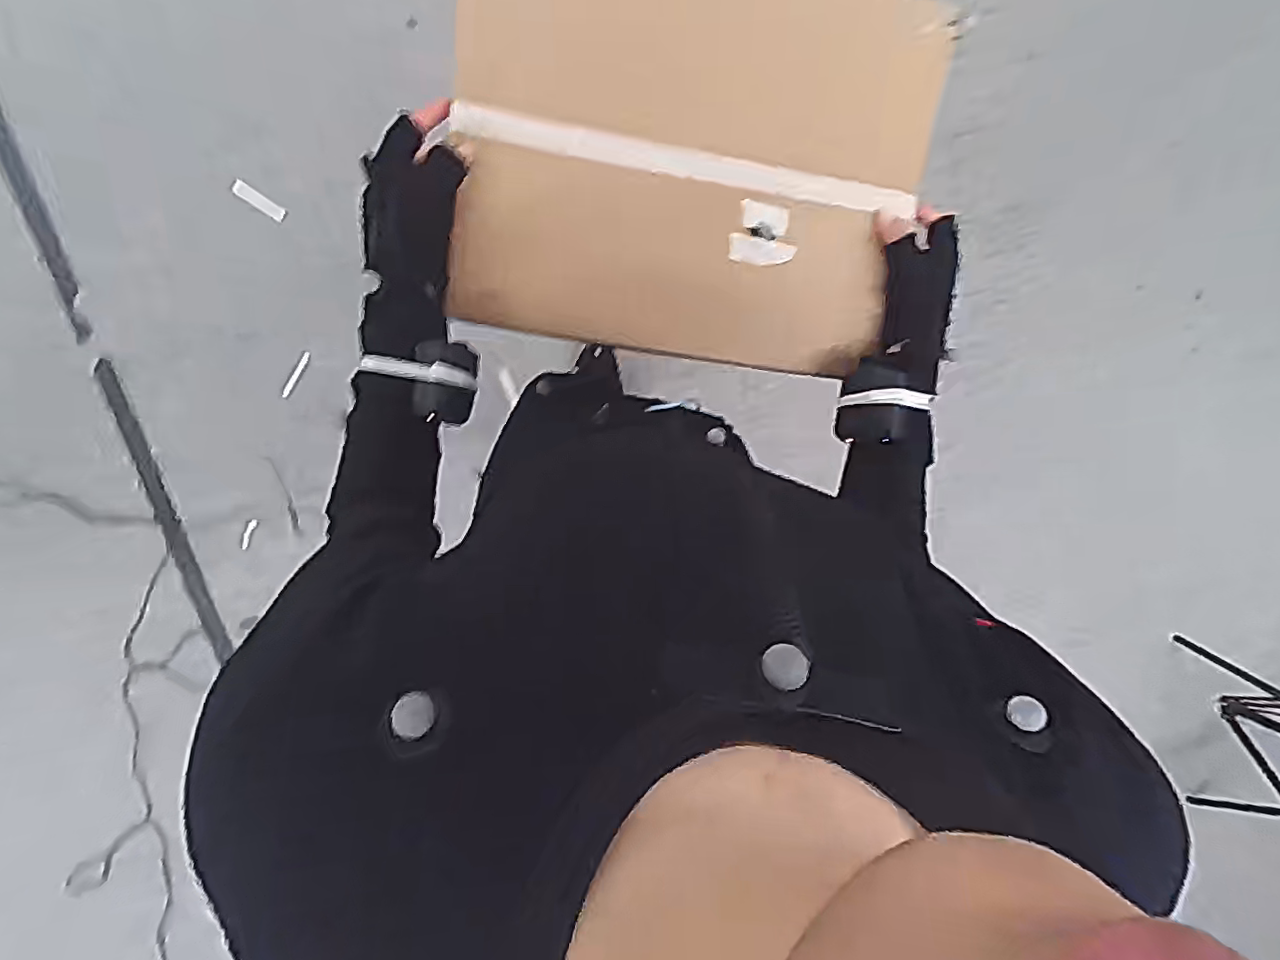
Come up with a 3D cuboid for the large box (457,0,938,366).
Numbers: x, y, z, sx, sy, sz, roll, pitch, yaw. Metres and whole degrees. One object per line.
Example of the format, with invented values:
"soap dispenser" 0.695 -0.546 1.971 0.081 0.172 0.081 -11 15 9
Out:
"large box" 0.028 -0.316 0.620 0.408 0.320 0.320 6 105 -9
